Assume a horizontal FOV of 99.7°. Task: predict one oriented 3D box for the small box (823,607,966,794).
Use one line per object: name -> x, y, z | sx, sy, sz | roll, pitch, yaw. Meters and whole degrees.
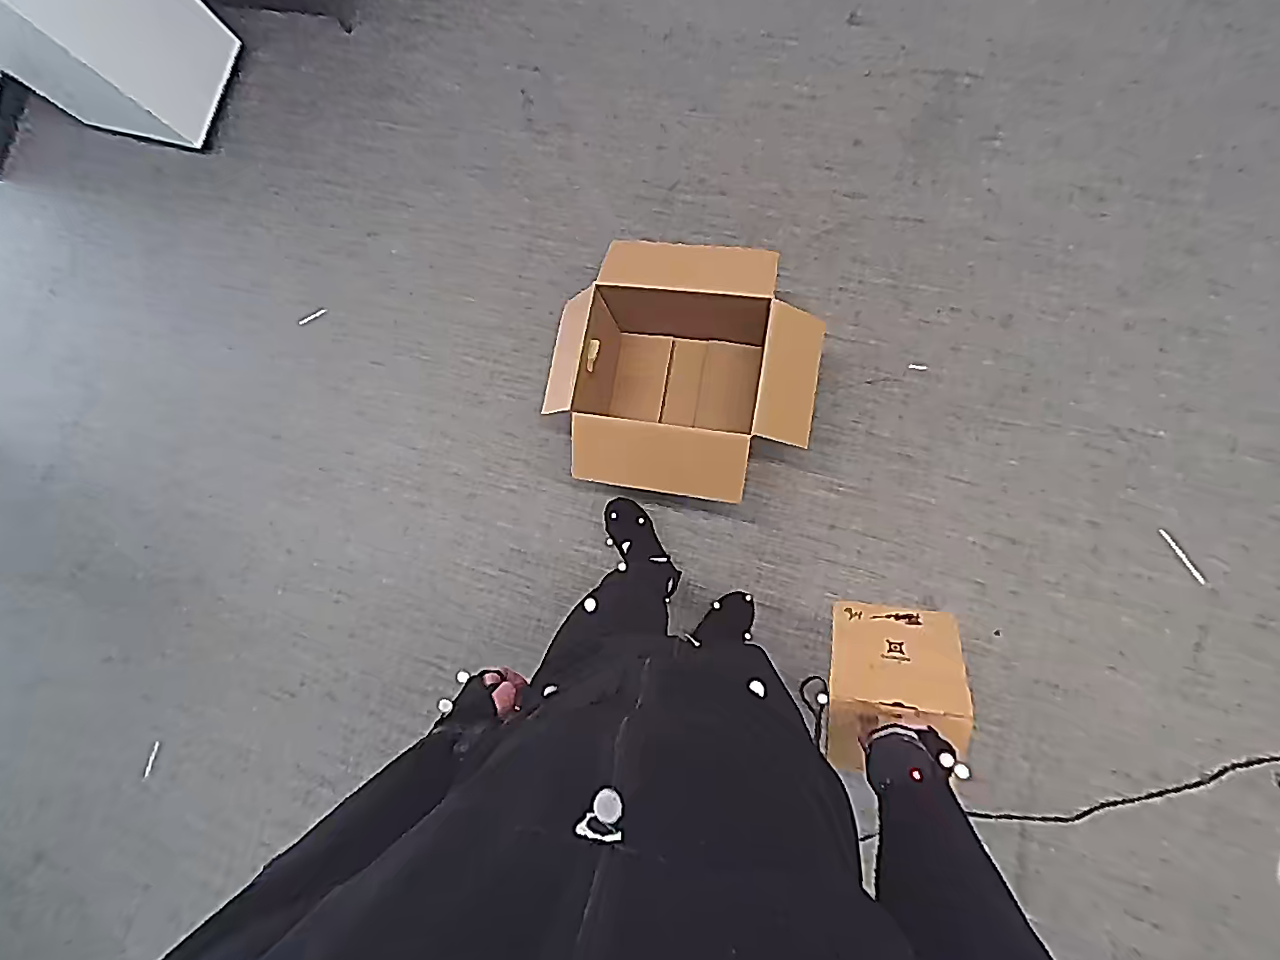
small box -> 0.355, 0.312, 0.777 | 0.168, 0.179, 0.176 | 2, 122, 21
